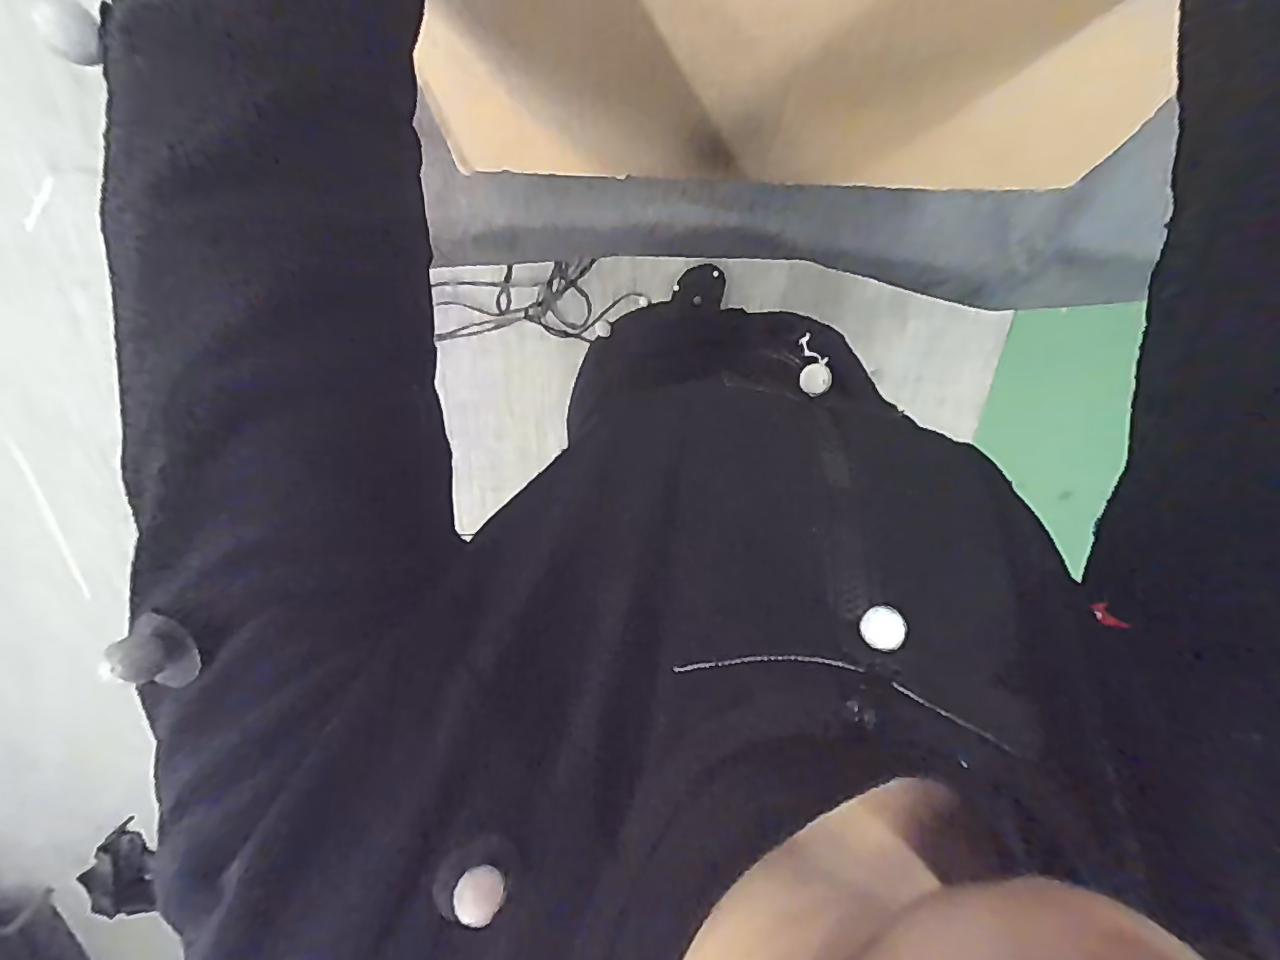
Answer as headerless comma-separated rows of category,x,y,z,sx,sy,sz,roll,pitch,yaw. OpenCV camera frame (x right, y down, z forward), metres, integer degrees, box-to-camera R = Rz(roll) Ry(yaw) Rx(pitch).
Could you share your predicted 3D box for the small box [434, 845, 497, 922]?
small box,-0.644,1.497,2.011,0.179,0.176,0.168,5,113,0
